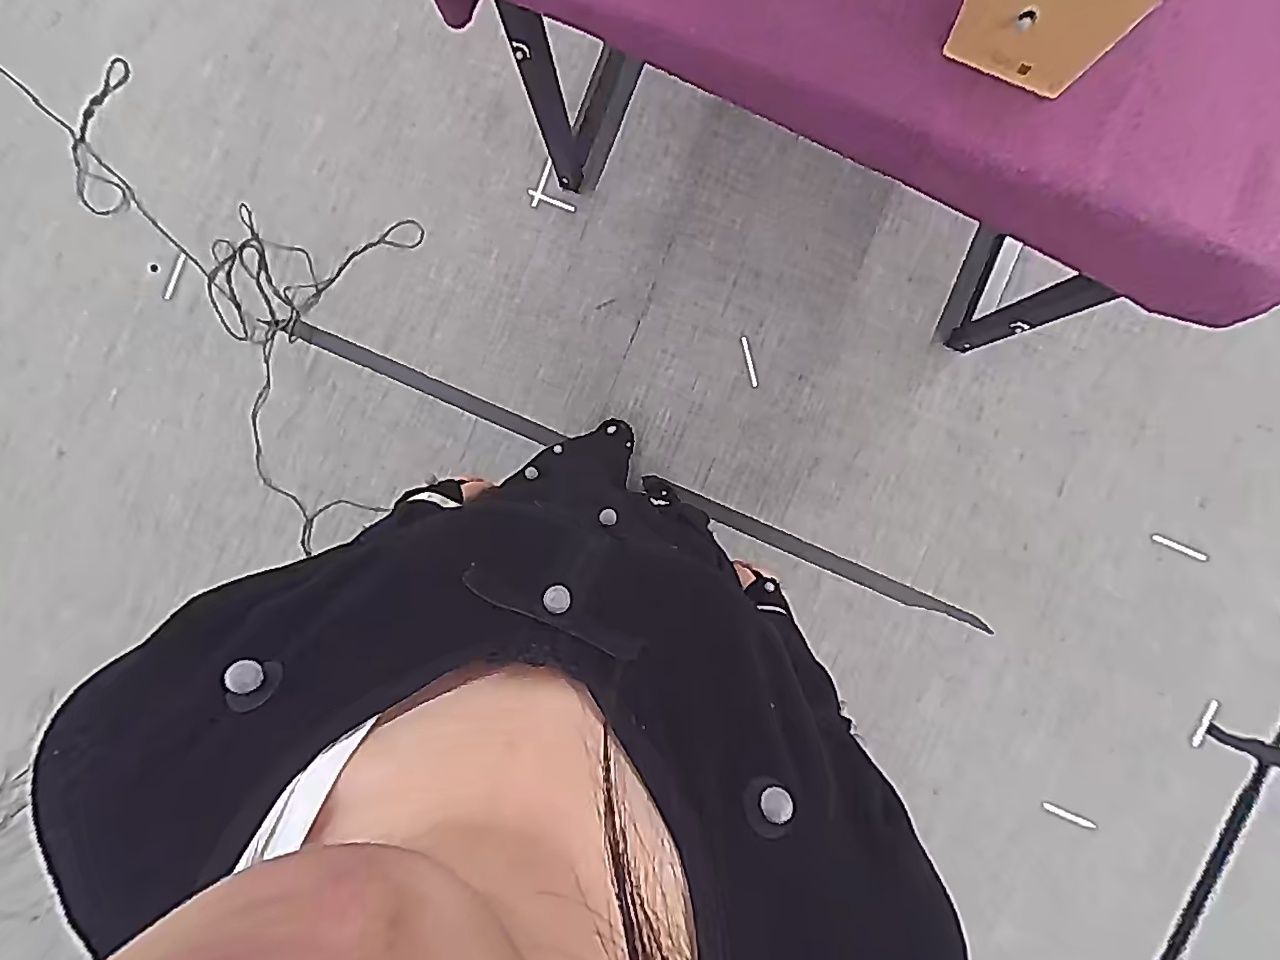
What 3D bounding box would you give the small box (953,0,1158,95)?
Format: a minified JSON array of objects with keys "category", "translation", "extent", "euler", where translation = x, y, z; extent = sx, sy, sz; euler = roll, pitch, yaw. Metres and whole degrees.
[{"category":"small box","translation":[0.520,-0.623,0.656],"extent":[0.168,0.176,0.179],"euler":[23,92,1]}]
